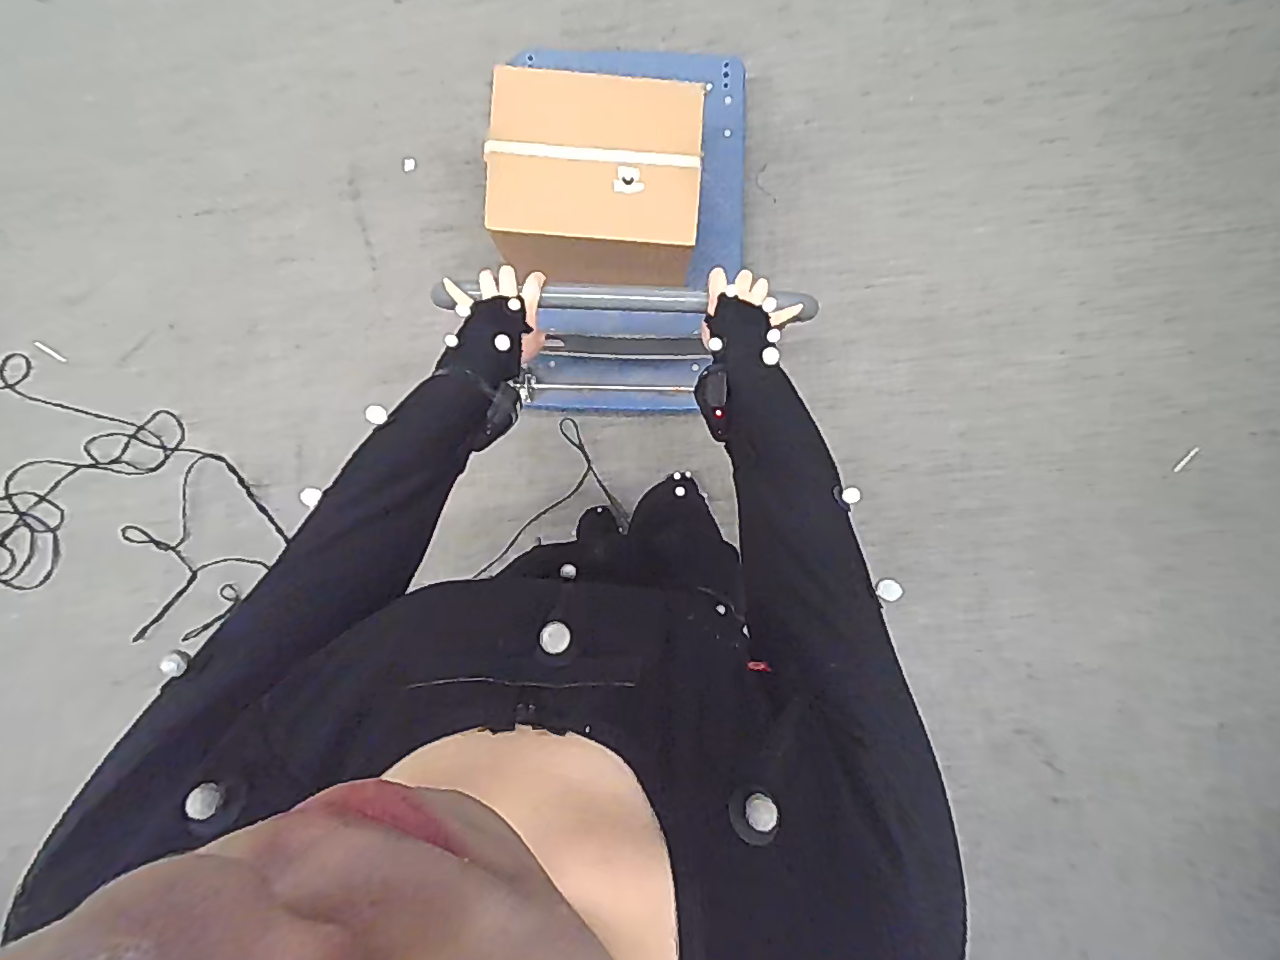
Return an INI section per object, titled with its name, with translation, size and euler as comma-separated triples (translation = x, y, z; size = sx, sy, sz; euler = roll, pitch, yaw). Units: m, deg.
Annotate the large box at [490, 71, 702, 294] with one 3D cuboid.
[large box]
translation = -0.093, -0.623, 1.193
size = 0.408, 0.320, 0.320
euler = 4, 90, -3
